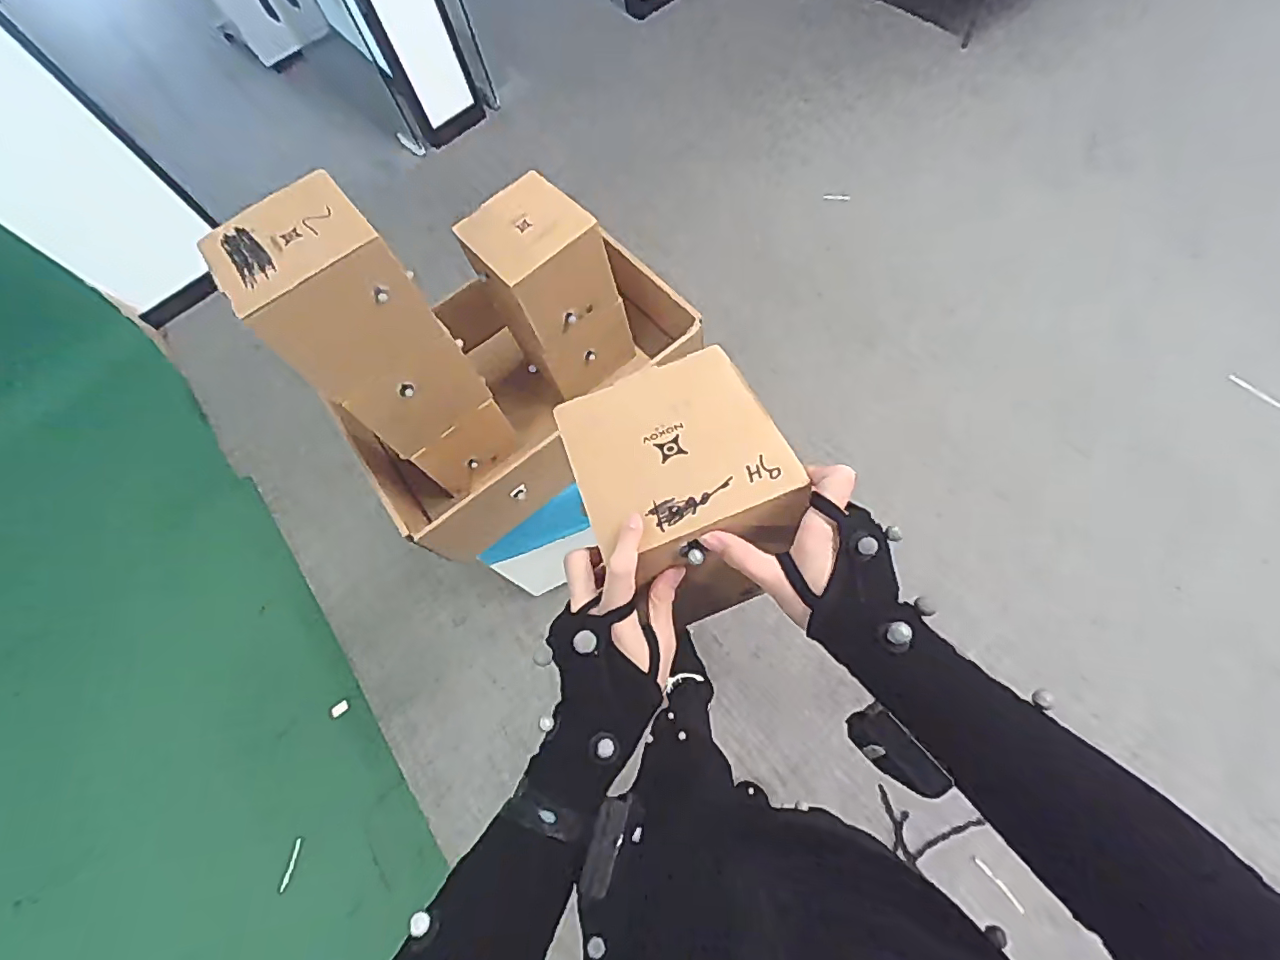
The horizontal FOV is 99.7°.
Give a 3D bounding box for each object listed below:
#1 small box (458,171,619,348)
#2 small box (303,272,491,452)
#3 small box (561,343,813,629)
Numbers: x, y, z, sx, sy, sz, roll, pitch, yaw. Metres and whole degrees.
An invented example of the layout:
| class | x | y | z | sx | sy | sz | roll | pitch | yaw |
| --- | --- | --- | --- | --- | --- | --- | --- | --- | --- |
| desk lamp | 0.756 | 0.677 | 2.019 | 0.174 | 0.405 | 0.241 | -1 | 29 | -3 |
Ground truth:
| class | x | y | z | sx | sy | sz | roll | pitch | yaw |
| --- | --- | --- | --- | --- | --- | --- | --- | --- | --- |
| small box | -0.158 | -0.352 | 0.885 | 0.168 | 0.176 | 0.179 | -40 | 66 | -7 |
| small box | -0.365 | -0.174 | 0.839 | 0.179 | 0.176 | 0.168 | -38 | 67 | -10 |
| small box | 0.043 | 0.010 | 0.508 | 0.168 | 0.176 | 0.179 | -22 | 53 | -1 |
